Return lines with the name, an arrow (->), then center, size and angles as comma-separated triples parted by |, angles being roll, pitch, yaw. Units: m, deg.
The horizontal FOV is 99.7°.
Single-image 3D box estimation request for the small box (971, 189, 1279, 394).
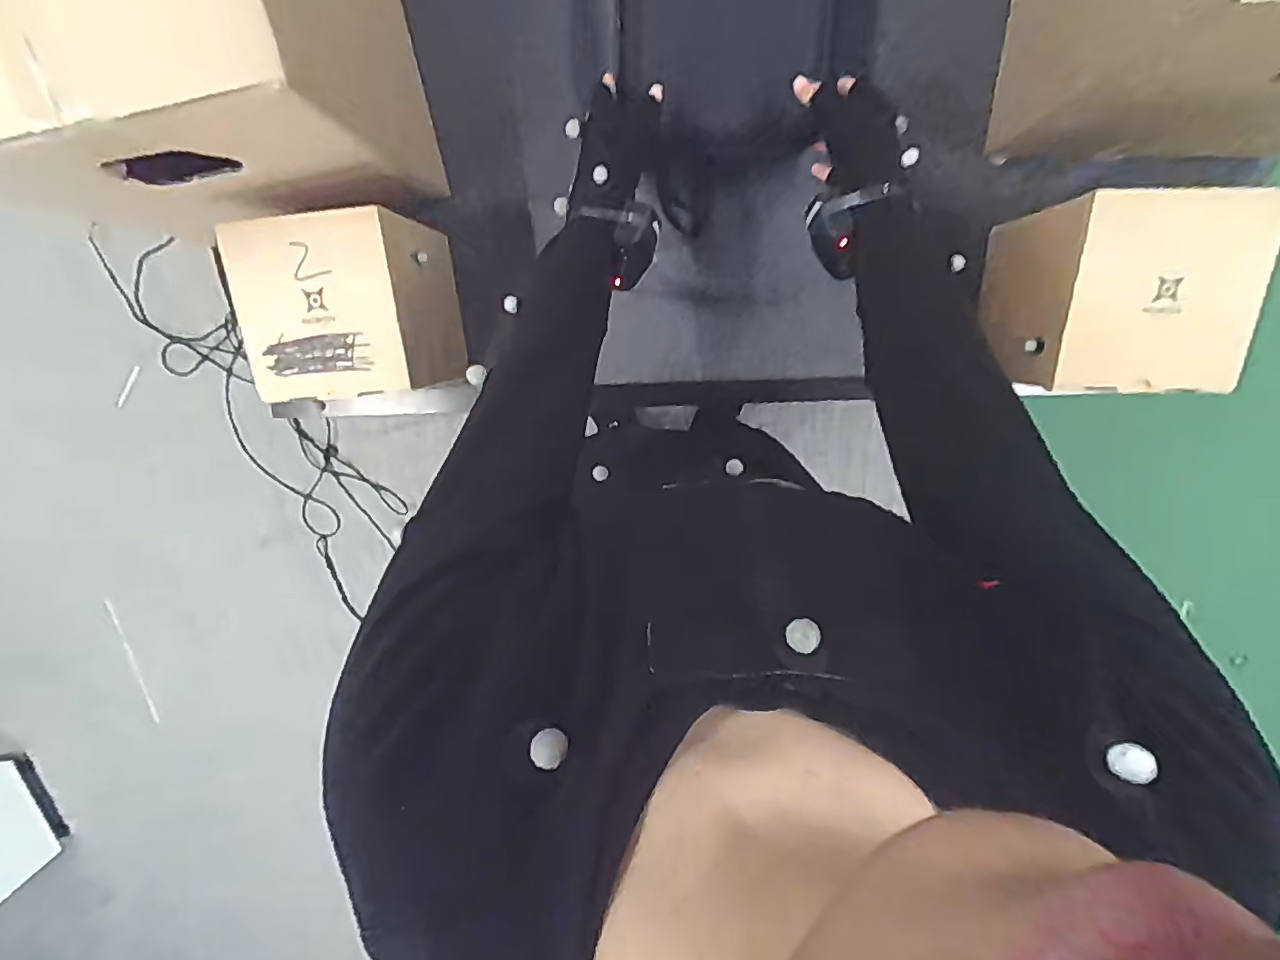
small box -> 0.481, -0.188, 0.567 | 0.168, 0.176, 0.179 | 2, 106, 4
